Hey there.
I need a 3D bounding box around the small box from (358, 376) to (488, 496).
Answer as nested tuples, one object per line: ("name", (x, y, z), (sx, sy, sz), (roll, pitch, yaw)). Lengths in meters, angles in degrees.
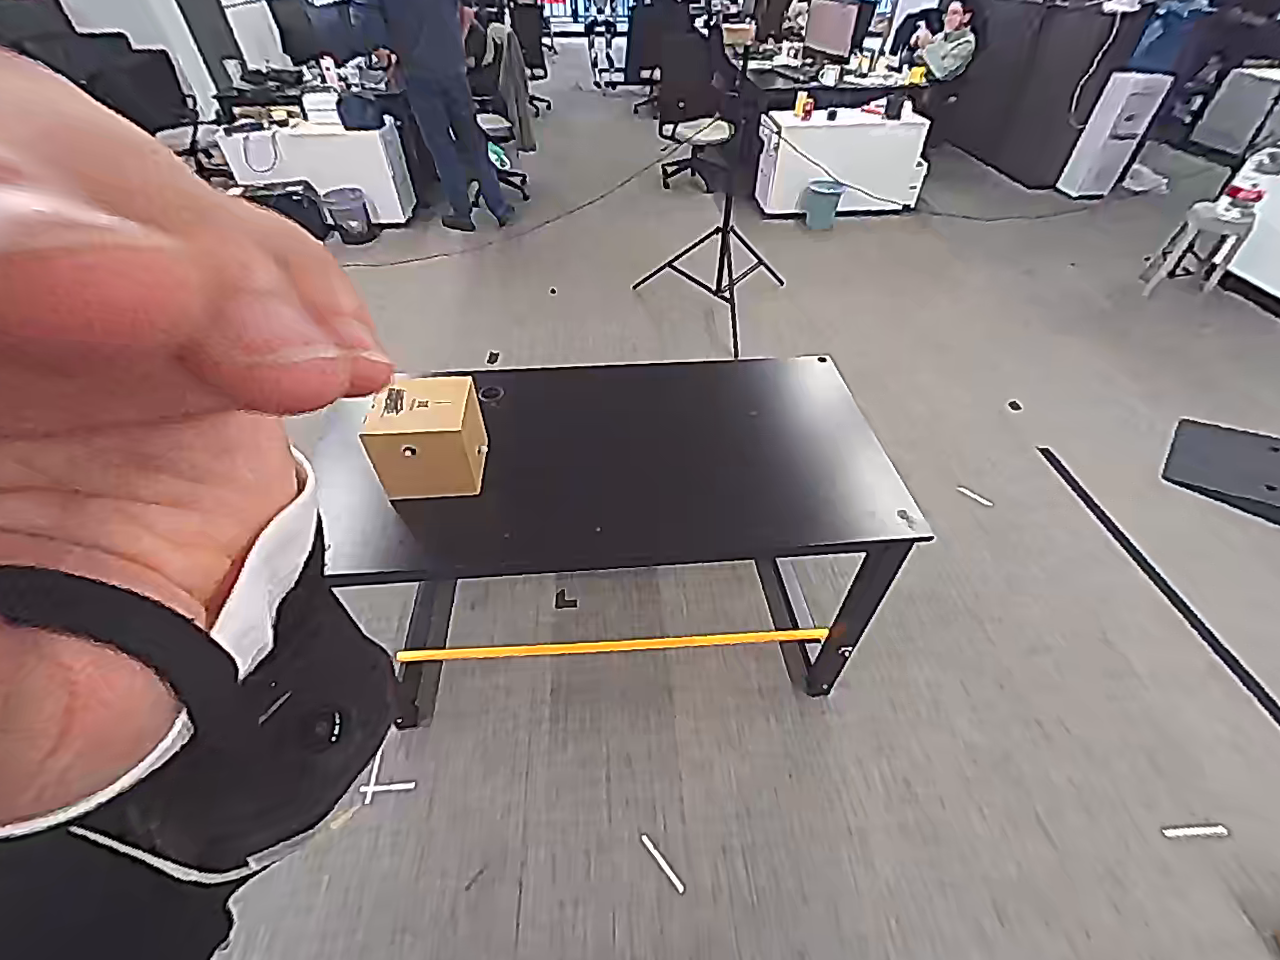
("small box", (-0.405, -0.082, 1.044), (0.179, 0.176, 0.168), (-3, 45, -4))
